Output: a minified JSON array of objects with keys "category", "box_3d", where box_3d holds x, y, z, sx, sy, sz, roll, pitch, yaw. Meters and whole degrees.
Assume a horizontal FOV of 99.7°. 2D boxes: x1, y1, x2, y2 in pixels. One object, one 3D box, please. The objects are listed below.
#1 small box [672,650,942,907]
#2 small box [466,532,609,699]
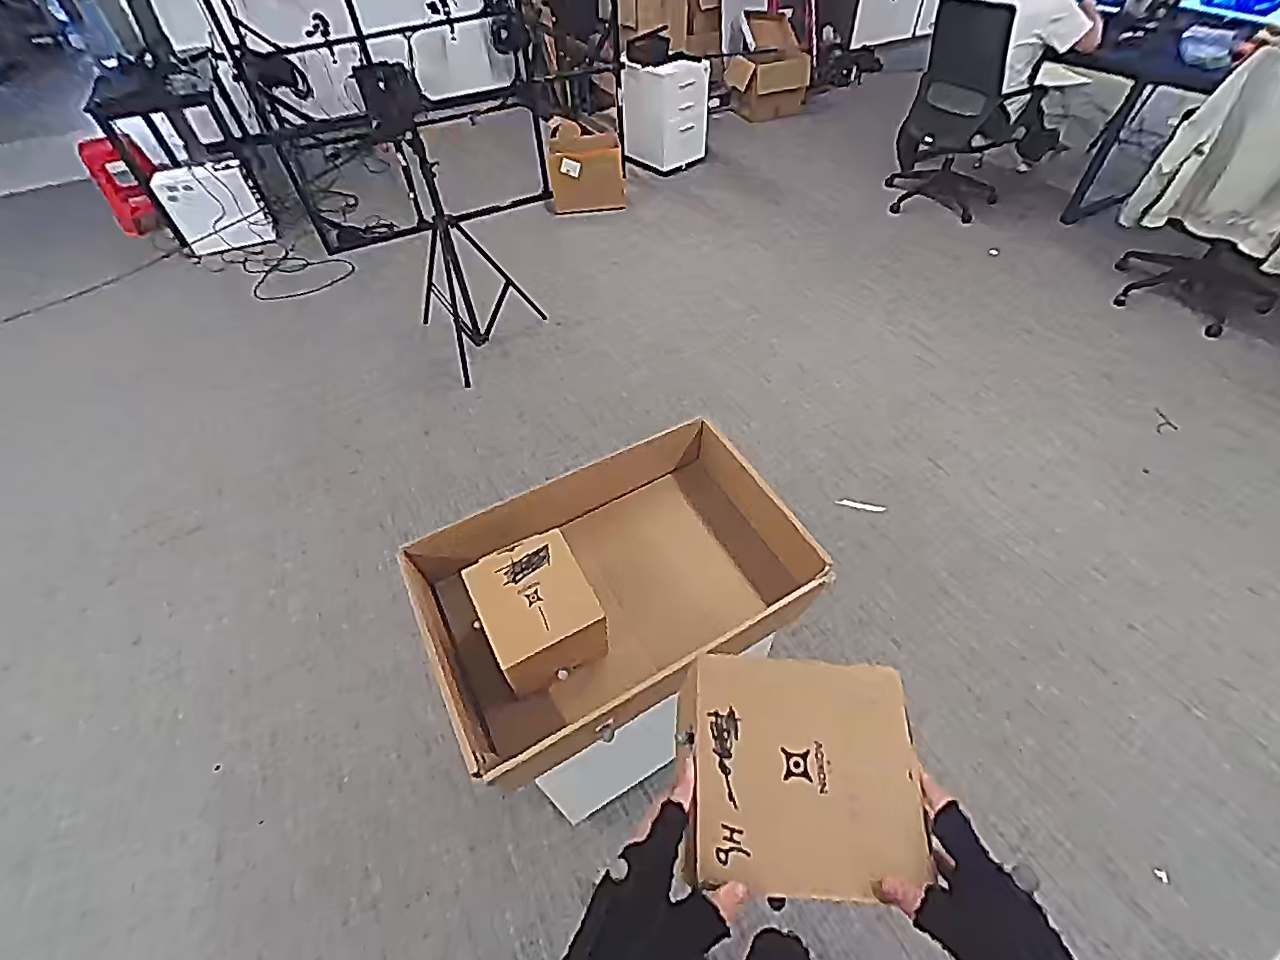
[{"category":"small box","box_3d":[0.127,0.266,0.487,0.179,0.176,0.168,5,56,0]},{"category":"small box","box_3d":[-0.161,0.222,0.877,0.168,0.176,0.179,-24,58,-18]}]
